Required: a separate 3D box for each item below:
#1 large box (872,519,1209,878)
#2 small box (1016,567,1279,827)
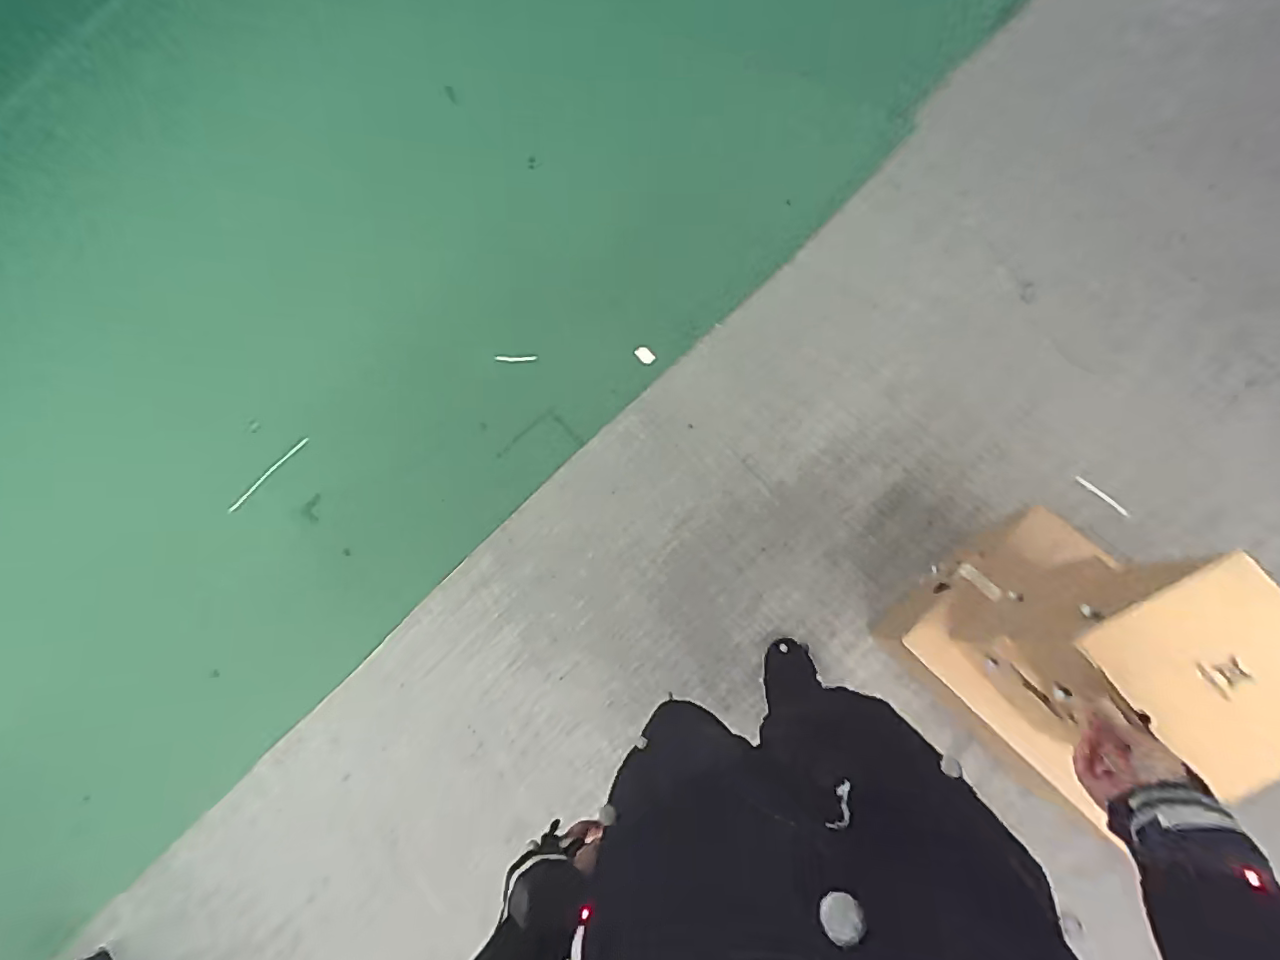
[{"bbox_3d":[0.684,0.328,0.922,0.320,0.320,0.408,-45,71,0],"label":"large box"},{"bbox_3d":[0.544,0.207,0.556,0.179,0.176,0.168,-31,71,4],"label":"small box"}]
